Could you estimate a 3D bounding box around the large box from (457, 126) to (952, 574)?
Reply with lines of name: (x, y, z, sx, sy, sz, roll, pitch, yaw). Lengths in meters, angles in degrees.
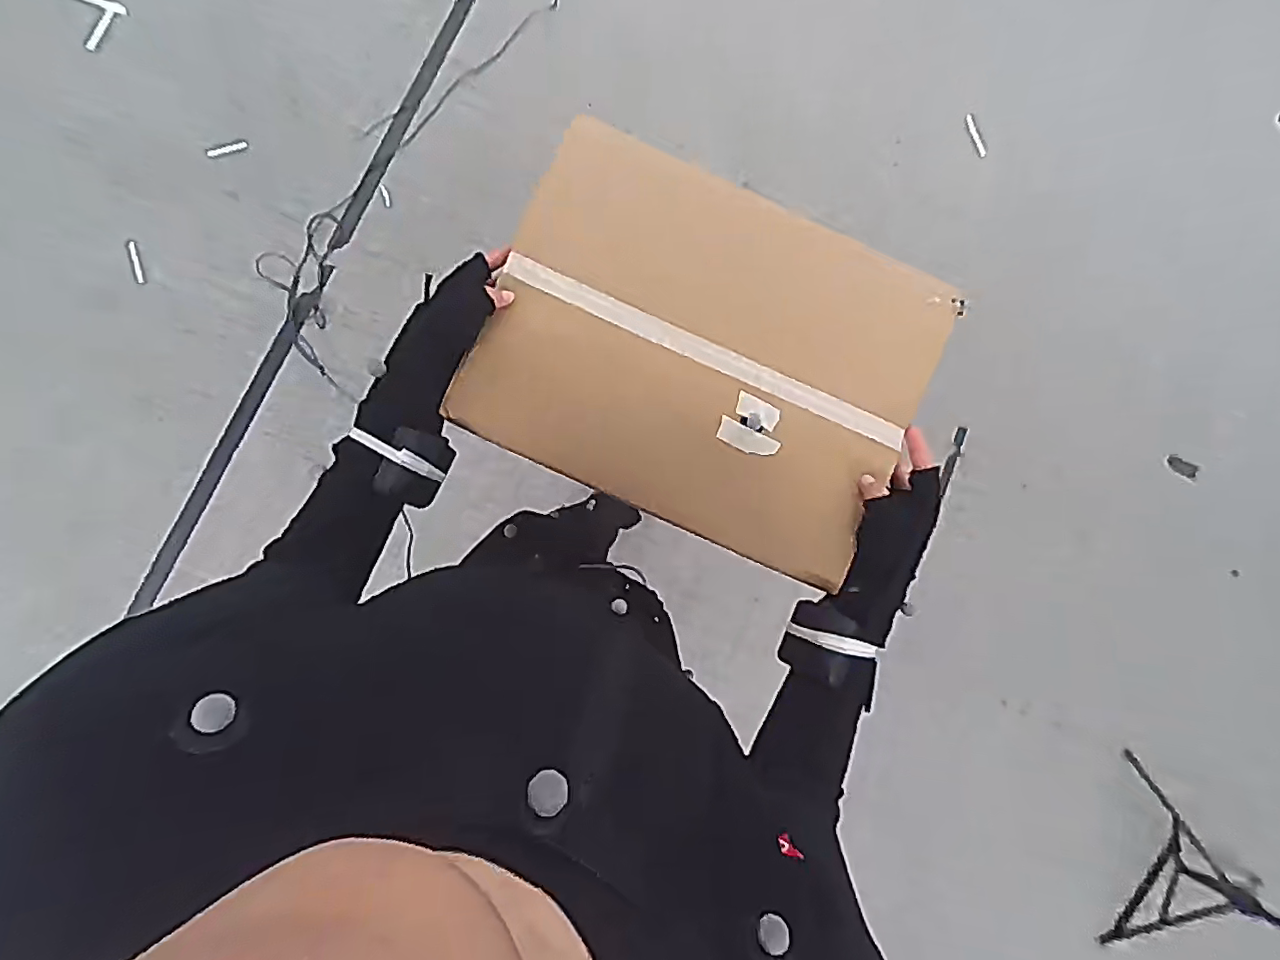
large box: (0.059, -0.122, 0.667, 0.408, 0.320, 0.320, 25, 89, -2)
